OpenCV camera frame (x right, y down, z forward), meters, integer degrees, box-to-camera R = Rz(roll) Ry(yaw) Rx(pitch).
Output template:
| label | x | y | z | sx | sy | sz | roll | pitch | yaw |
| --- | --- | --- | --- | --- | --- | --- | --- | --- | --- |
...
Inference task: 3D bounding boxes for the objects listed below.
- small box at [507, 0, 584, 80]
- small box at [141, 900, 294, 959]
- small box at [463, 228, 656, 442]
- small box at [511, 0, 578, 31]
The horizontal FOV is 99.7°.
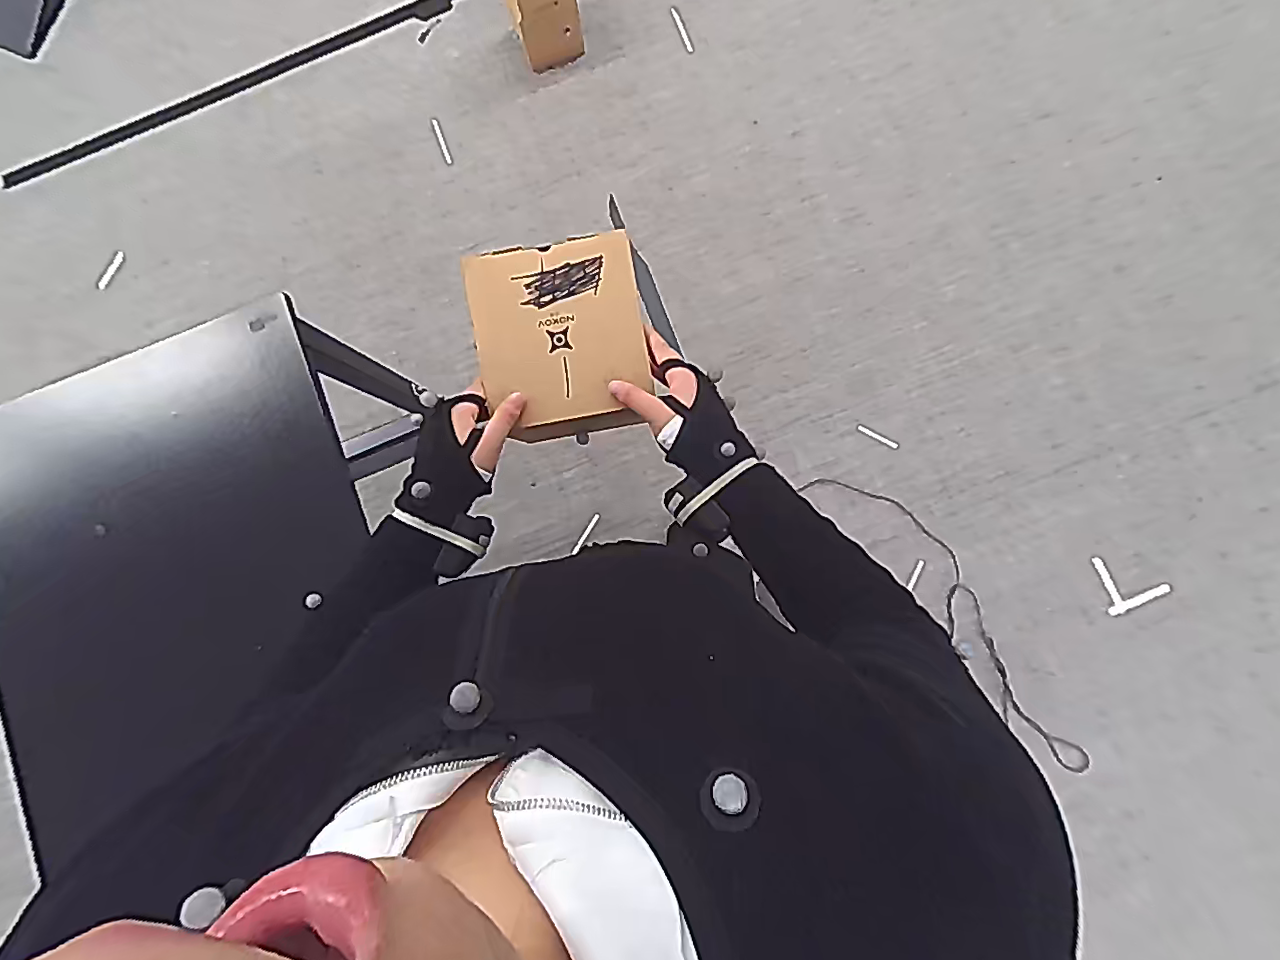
| label | x | y | z | sx | sy | sz | roll | pitch | yaw |
| --- | --- | --- | --- | --- | --- | --- | --- | --- | --- |
| small box | -0.273 | -1.333 | 1.585 | 0.179 | 0.176 | 0.168 | -22 | 83 | 1 |
| small box | -0.555 | 0.672 | 0.667 | 0.179 | 0.176 | 0.168 | -19 | 83 | 1 |
| small box | -0.079 | -0.146 | 0.605 | 0.168 | 0.176 | 0.179 | -10 | 90 | 1 |
| small box | -0.278 | -1.349 | 1.422 | 0.168 | 0.176 | 0.179 | -23 | 82 | 0 |
